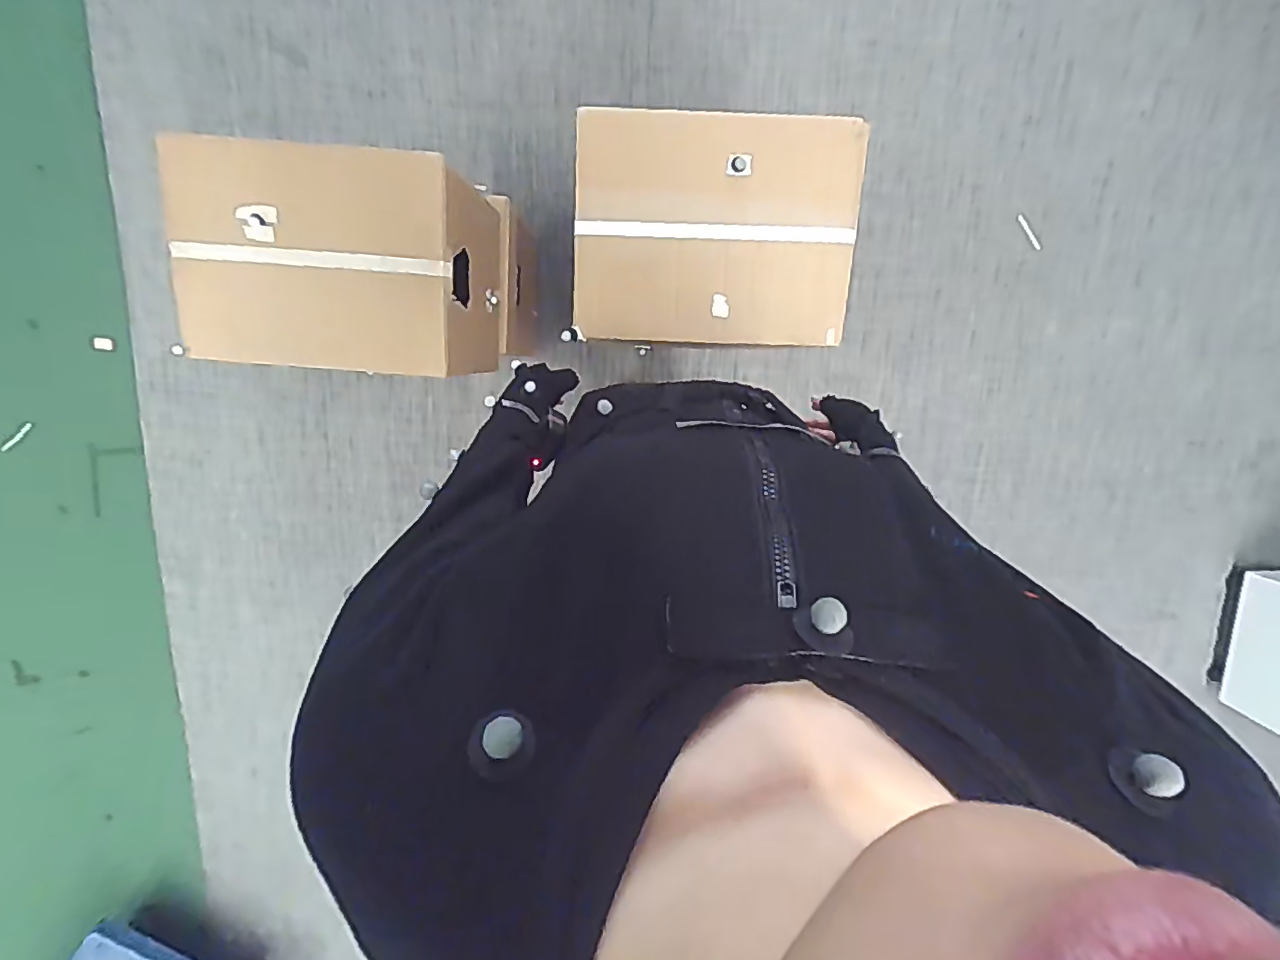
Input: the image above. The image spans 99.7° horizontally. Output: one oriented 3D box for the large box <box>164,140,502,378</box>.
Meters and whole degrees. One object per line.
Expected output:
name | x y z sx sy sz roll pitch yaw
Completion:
large box | -0.476 -0.353 0.935 0.408 0.320 0.320 5 103 0
